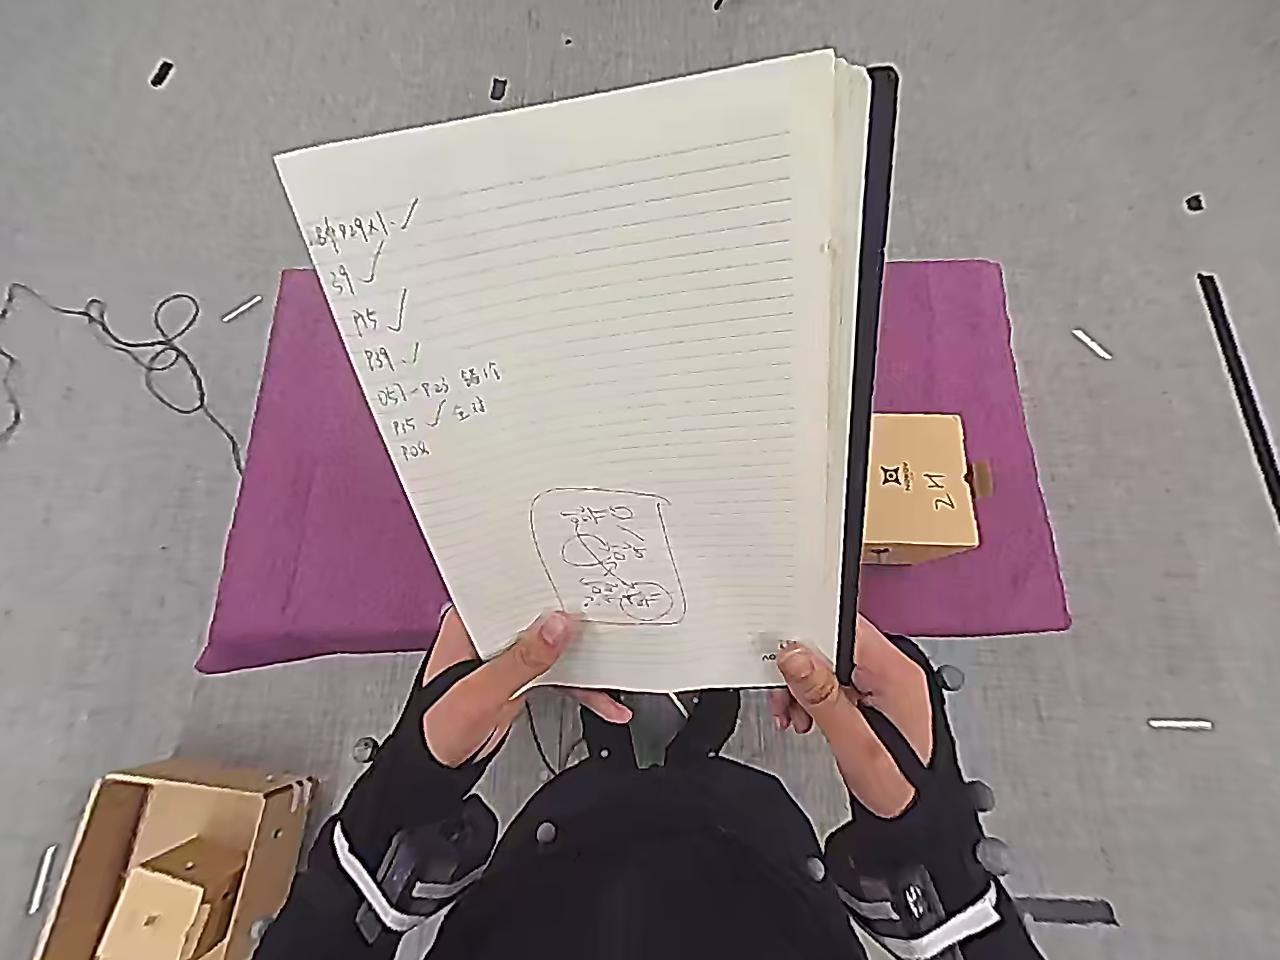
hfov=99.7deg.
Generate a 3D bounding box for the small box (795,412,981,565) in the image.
[{"bbox_3d":[0.310,0.020,0.719,0.179,0.176,0.168,2,74,2],"label":"small box"}]

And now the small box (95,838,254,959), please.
[{"bbox_3d":[-1.010,0.928,1.194,0.179,0.176,0.168,14,75,5],"label":"small box"}]
